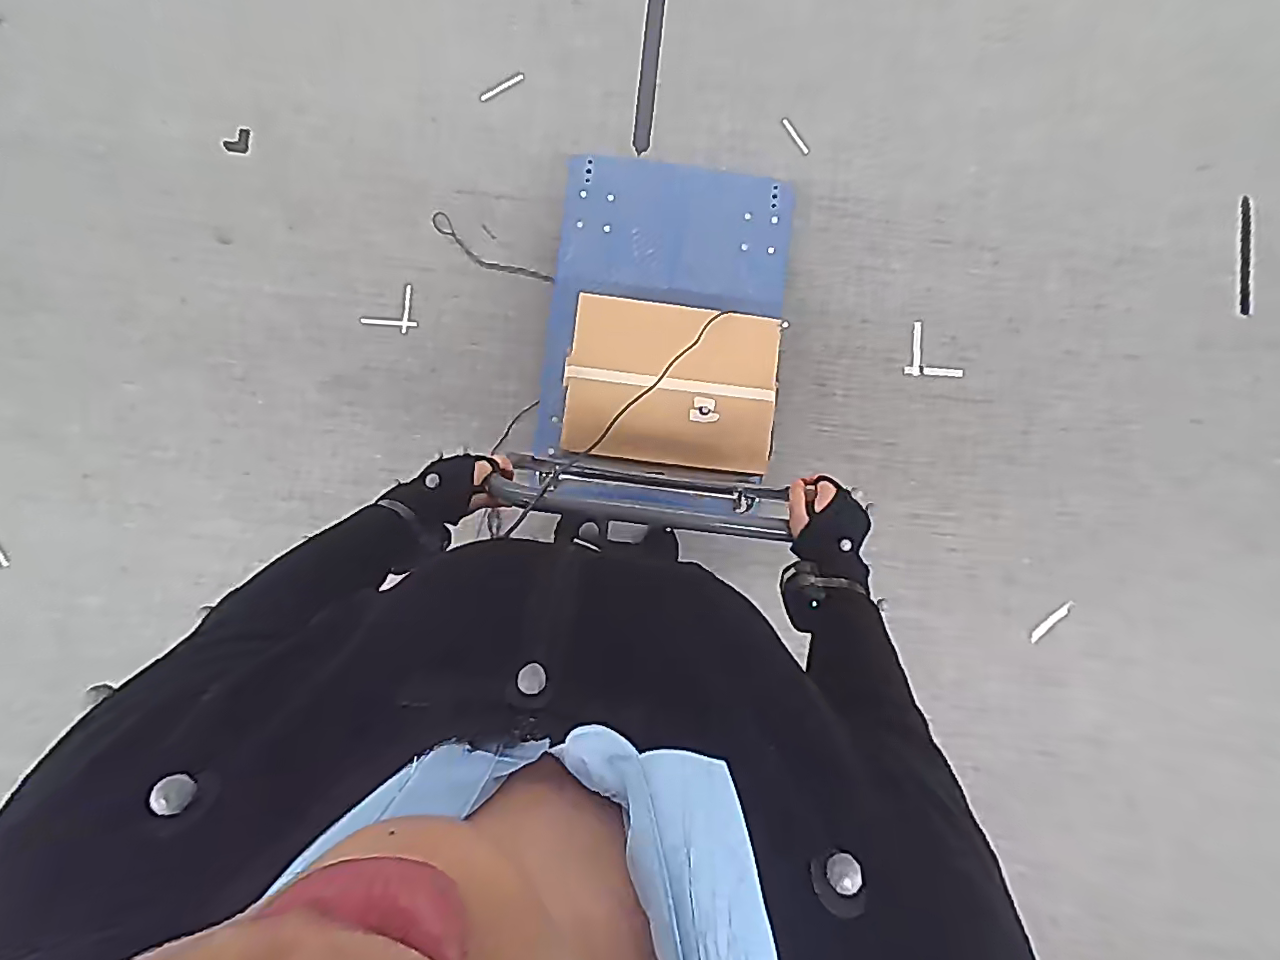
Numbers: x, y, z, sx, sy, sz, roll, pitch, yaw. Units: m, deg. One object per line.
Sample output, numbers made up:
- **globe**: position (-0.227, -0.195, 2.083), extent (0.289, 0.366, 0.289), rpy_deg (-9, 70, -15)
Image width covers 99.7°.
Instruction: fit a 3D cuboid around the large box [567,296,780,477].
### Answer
- **large box**: position (0.059, -0.184, 1.210), extent (0.408, 0.320, 0.320), rpy_deg (7, 88, -3)
